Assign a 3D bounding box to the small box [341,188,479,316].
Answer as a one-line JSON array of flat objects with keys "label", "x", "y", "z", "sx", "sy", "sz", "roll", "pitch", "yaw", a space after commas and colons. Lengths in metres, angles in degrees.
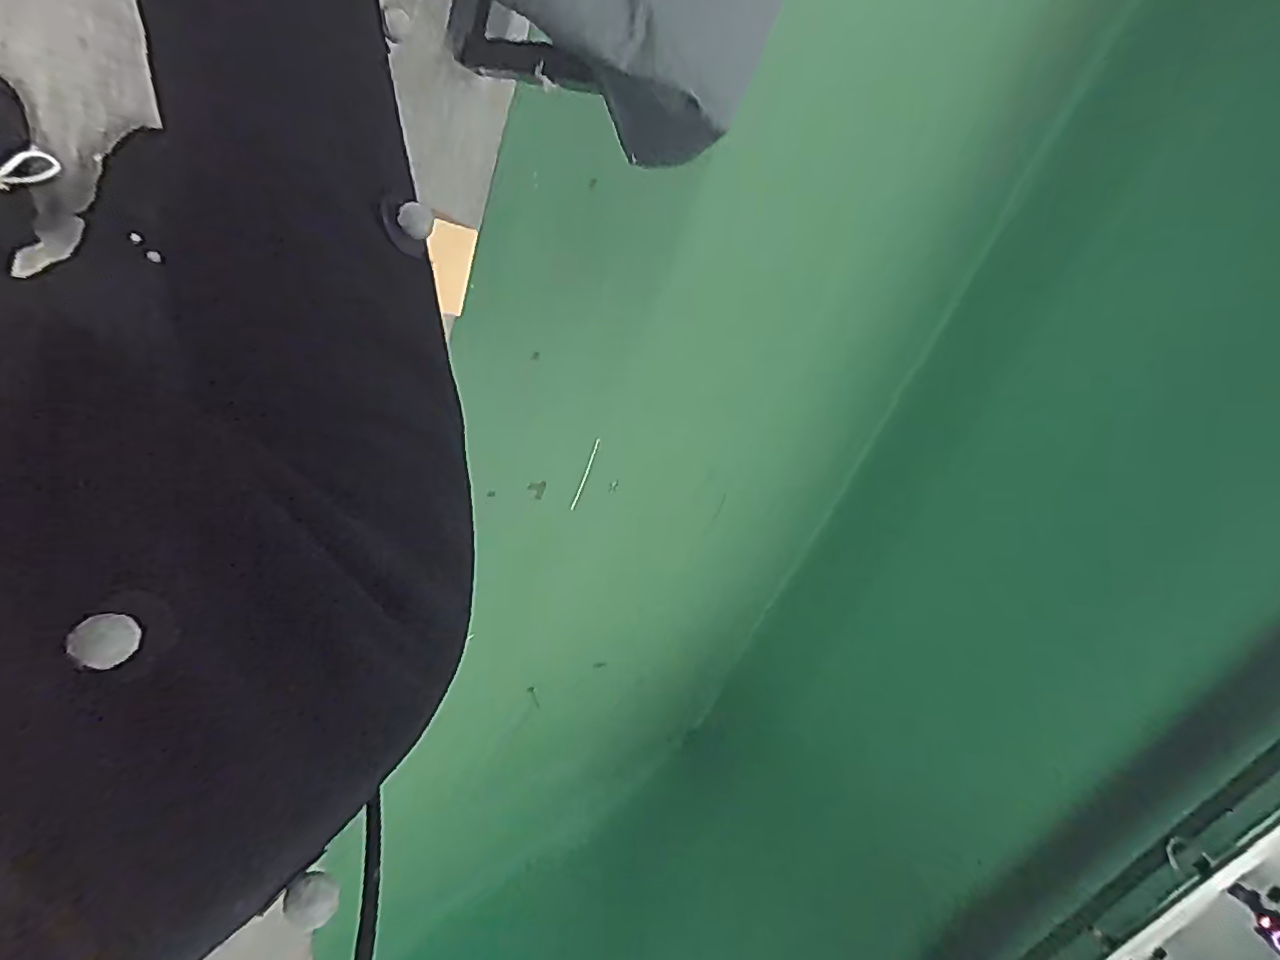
[{"label": "small box", "x": -0.438, "y": -0.429, "z": 1.023, "sx": 0.179, "sy": 0.176, "sz": 0.168, "roll": -5, "pitch": 124, "yaw": -46}]
